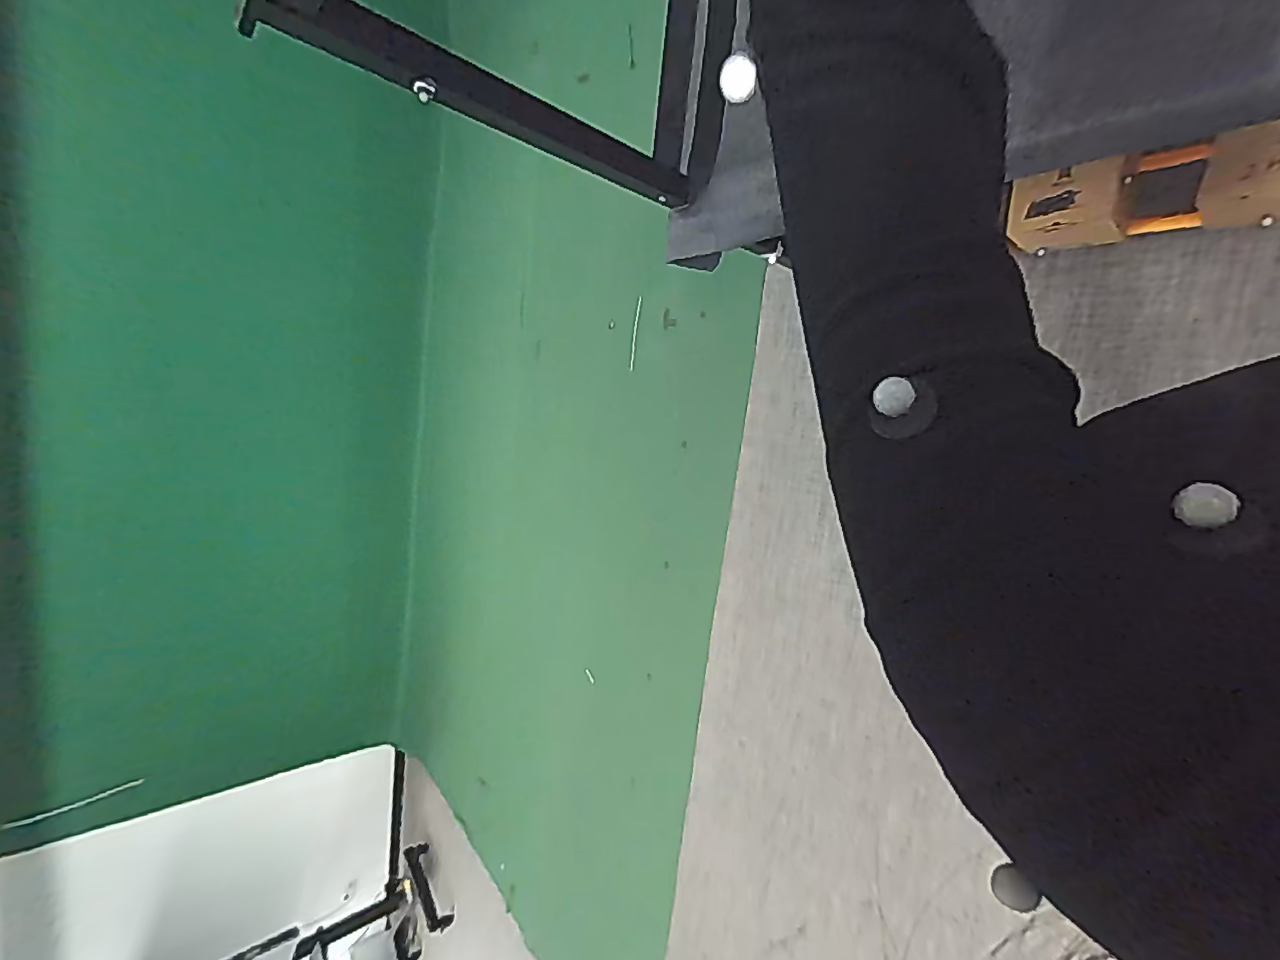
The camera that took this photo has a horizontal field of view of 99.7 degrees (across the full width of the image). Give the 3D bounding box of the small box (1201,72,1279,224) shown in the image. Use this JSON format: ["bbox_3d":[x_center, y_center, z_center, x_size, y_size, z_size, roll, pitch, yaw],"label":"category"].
[{"bbox_3d":[1.046,-0.531,0.865,0.168,0.176,0.179,22,109,47],"label":"small box"}]
